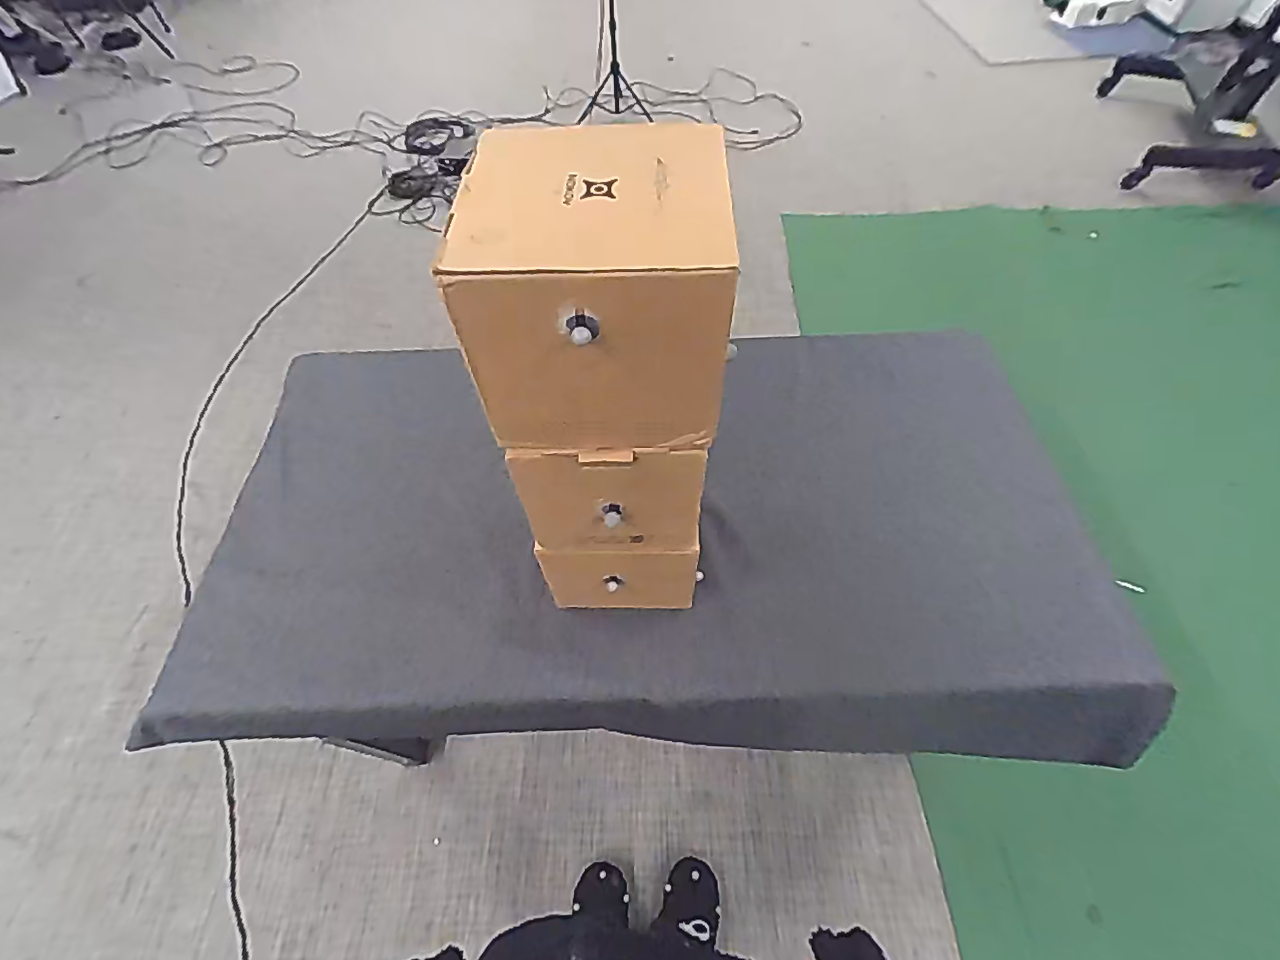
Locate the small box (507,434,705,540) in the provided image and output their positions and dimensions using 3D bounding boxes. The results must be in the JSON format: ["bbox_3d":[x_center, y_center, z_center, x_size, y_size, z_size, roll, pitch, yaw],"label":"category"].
[{"bbox_3d":[-0.023,-0.048,0.546,0.168,0.176,0.179,-1,57,1],"label":"small box"}]

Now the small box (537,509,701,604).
[{"bbox_3d":[-0.019,0.048,0.677,0.179,0.176,0.168,0,57,3],"label":"small box"}]

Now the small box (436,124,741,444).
[{"bbox_3d":[-0.026,-0.139,0.411,0.179,0.176,0.168,0,58,1],"label":"small box"}]
